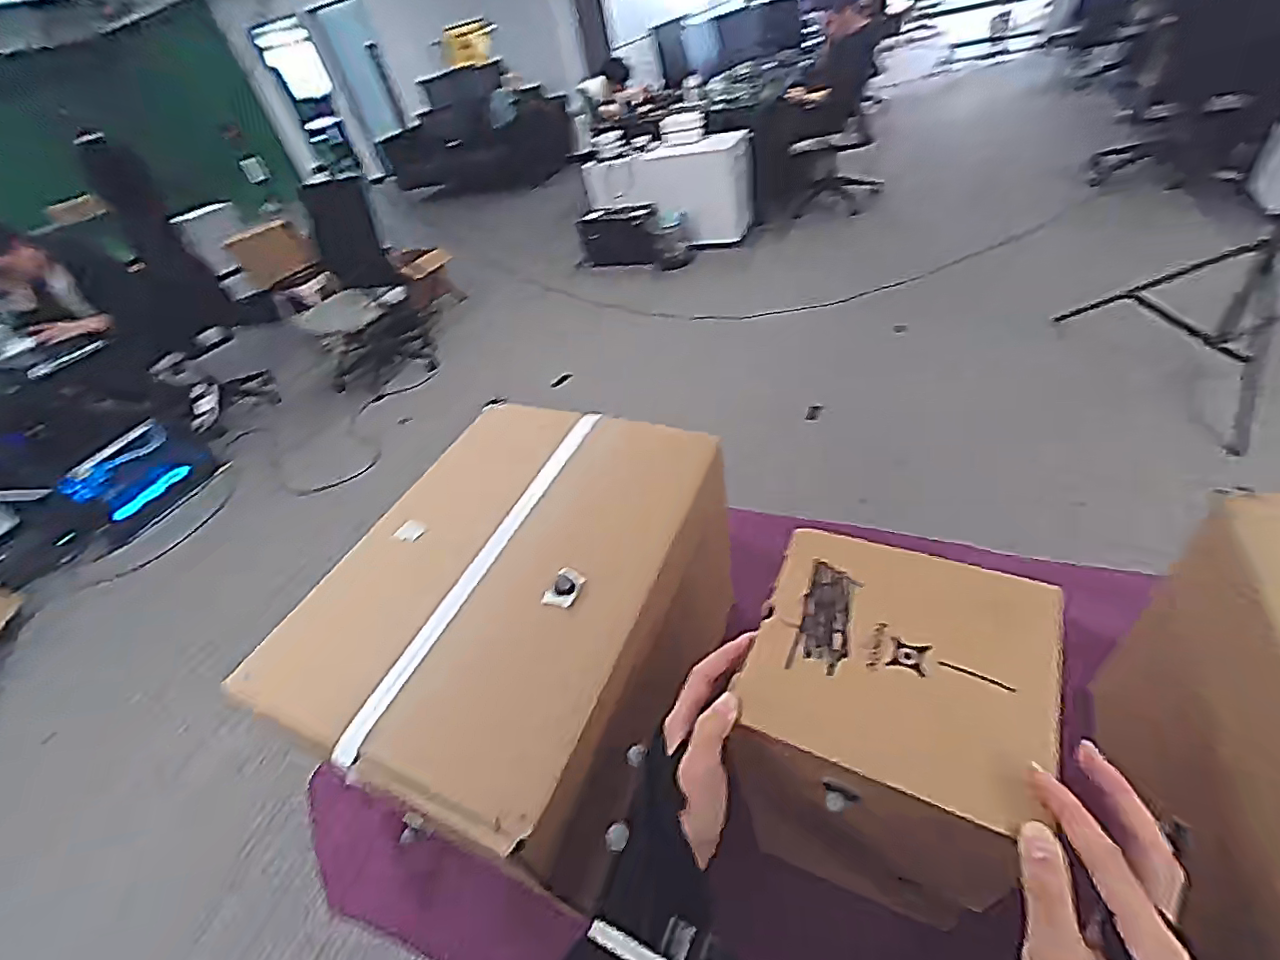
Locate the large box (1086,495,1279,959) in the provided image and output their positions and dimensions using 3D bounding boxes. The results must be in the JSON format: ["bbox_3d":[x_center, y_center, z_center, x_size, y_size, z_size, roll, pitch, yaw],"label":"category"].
[{"bbox_3d":[0.527,0.270,0.321,0.320,0.320,0.408,9,45,24],"label":"large box"}]
